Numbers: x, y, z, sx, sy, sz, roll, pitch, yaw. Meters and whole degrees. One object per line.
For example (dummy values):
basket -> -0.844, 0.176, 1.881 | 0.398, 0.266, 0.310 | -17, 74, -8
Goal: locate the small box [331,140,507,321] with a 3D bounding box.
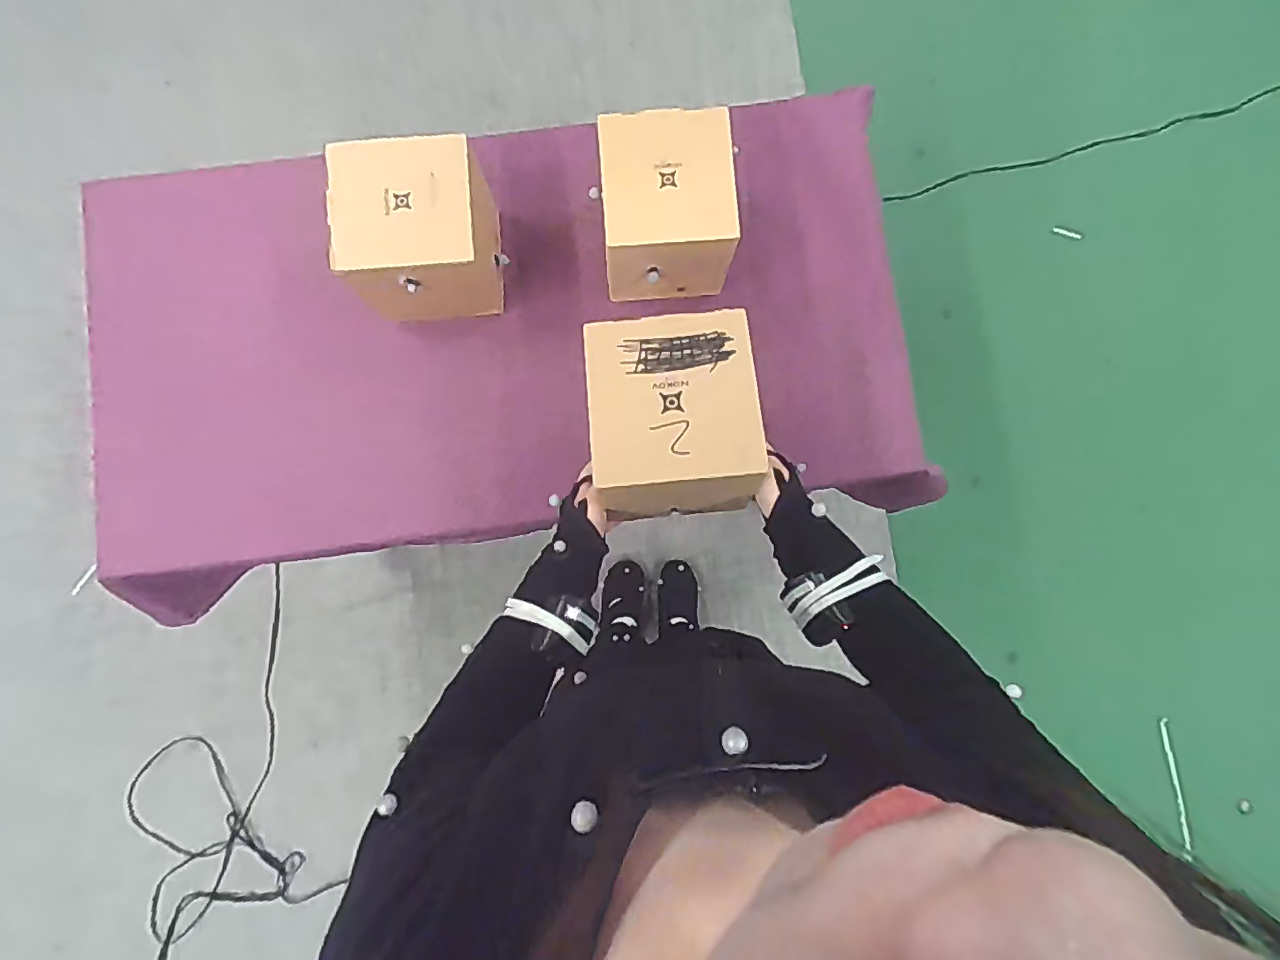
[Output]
small box -> -0.292, -0.328, 0.743 | 0.179, 0.176, 0.168 | -4, 85, -1

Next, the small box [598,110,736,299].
small box -> 0.034, -0.363, 0.746 | 0.168, 0.176, 0.179 | -4, 84, 0
